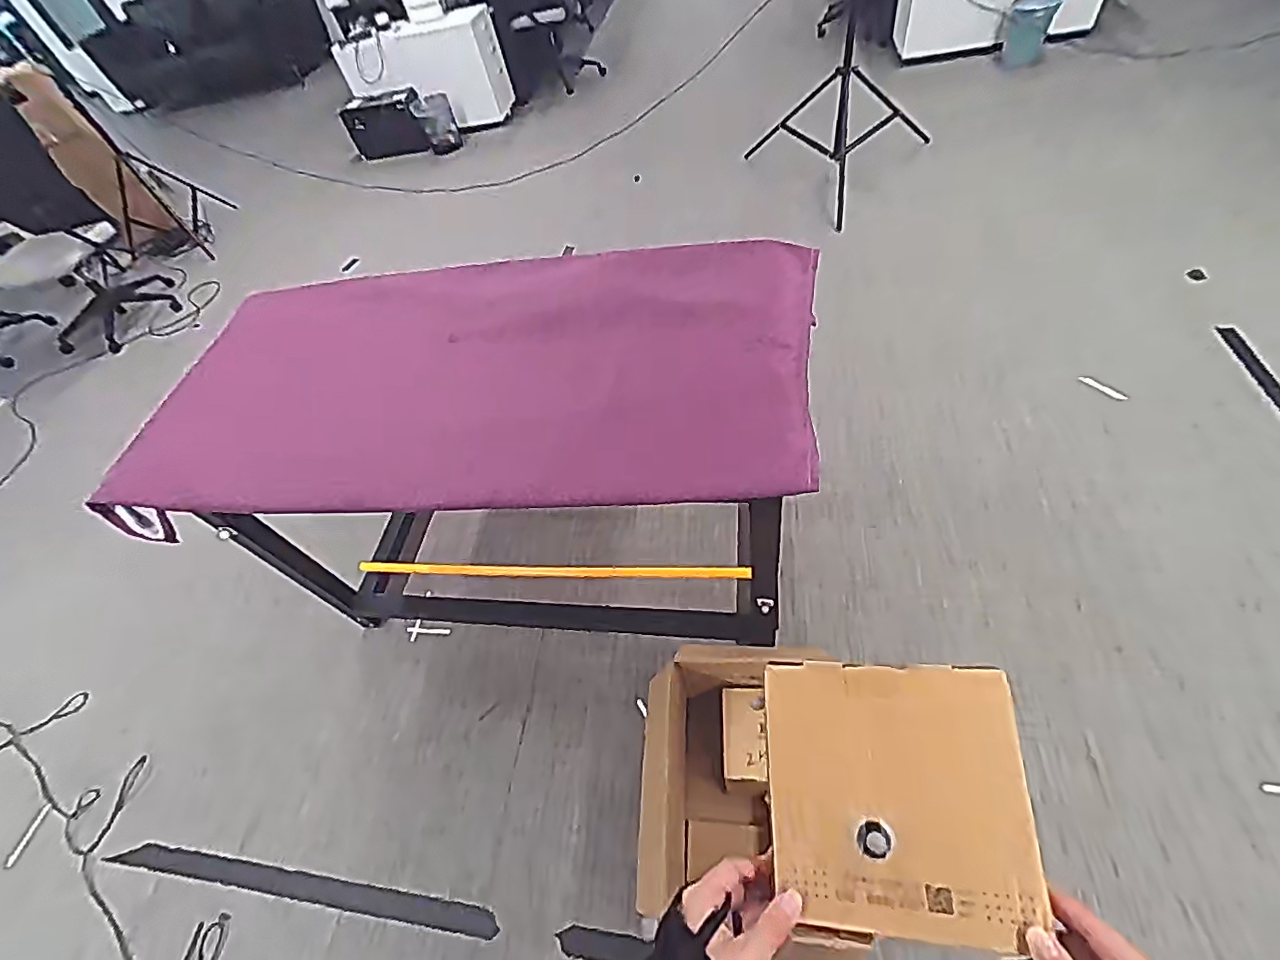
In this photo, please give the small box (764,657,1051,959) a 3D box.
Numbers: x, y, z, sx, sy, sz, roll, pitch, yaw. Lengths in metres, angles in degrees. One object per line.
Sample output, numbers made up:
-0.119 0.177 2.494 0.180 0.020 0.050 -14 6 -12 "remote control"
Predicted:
0.194 0.238 0.439 0.168 0.179 0.176 -5 70 17 "small box"
